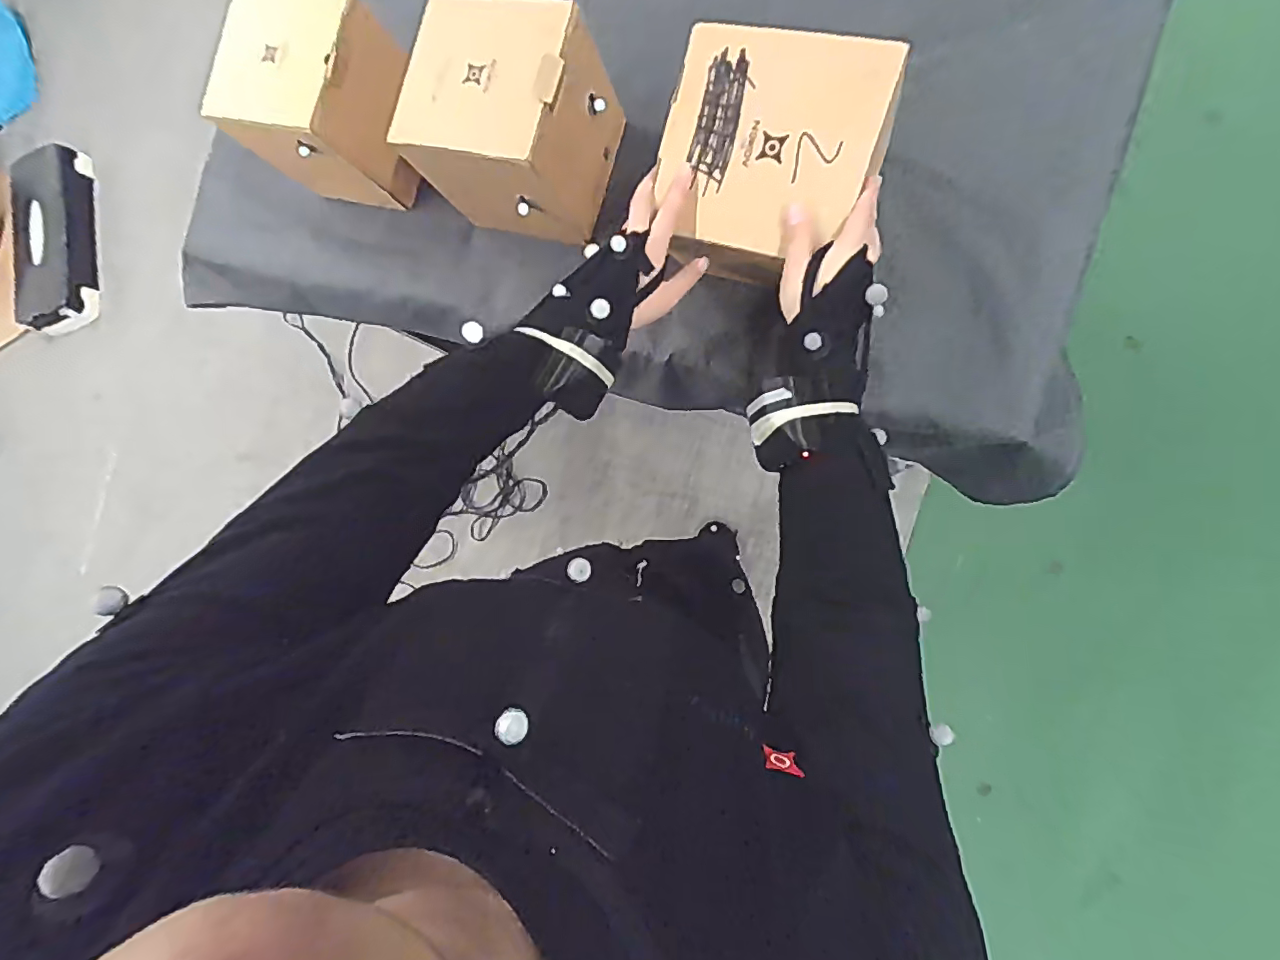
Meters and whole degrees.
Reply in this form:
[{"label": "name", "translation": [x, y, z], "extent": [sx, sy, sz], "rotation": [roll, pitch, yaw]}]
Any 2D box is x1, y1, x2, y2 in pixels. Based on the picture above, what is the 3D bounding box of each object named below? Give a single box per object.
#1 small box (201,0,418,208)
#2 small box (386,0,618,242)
[{"label": "small box", "translation": [-0.401, -0.480, 0.699], "extent": [0.179, 0.176, 0.168], "rotation": [16, 90, 15]}, {"label": "small box", "translation": [-0.144, -0.398, 0.622], "extent": [0.179, 0.176, 0.168], "rotation": [17, 89, 17]}]
